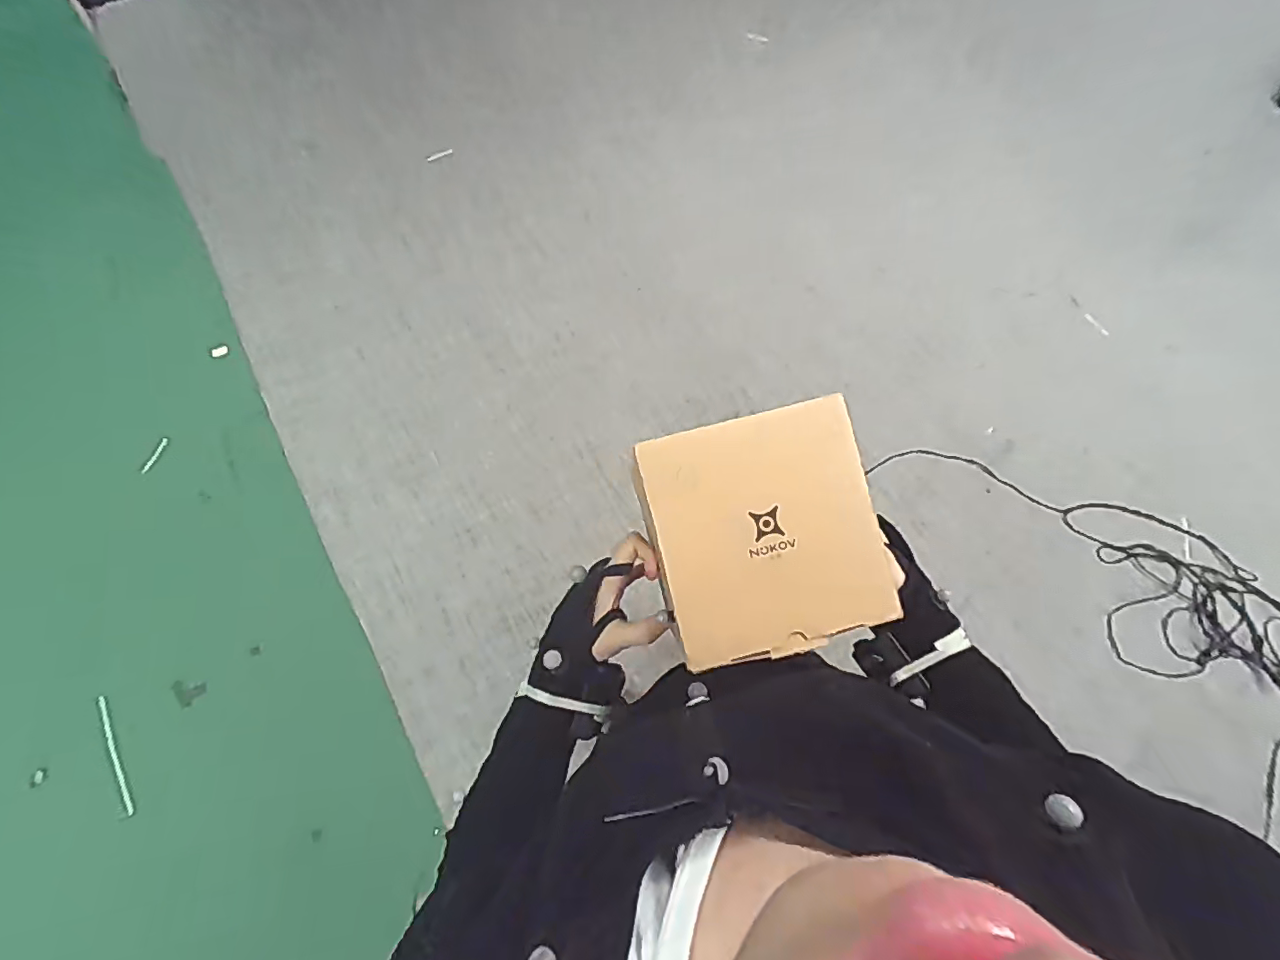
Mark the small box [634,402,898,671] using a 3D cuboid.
[{"bbox_3d":[0.093,0.046,0.489,0.168,0.176,0.179,-14,87,-3],"label":"small box"}]
